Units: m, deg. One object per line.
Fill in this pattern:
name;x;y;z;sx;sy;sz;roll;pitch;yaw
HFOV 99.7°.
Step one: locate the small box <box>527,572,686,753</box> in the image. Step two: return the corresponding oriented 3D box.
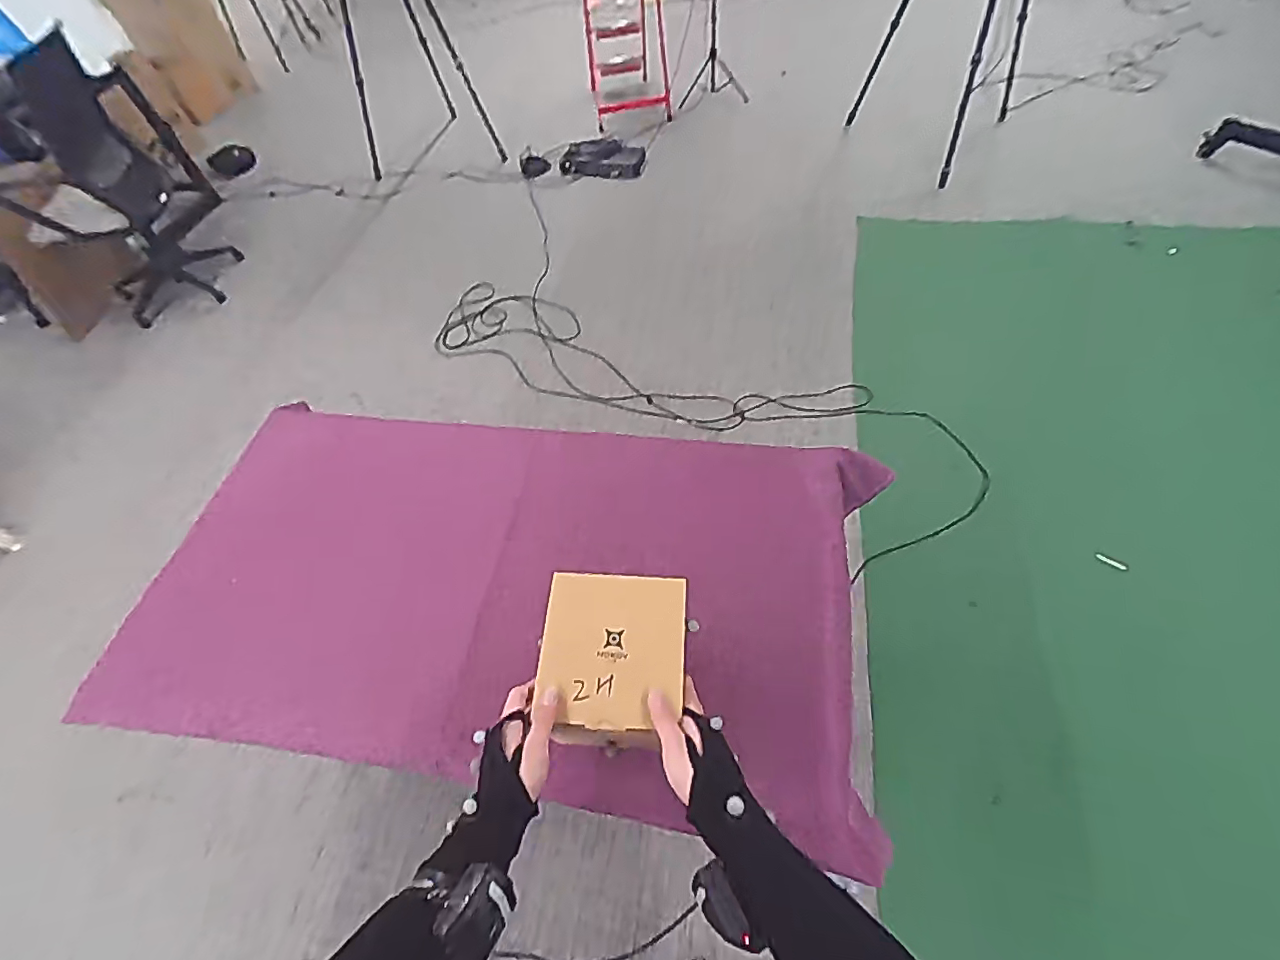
small box;-0.031;0.234;0.684;0.168;0.176;0.179;3;59;5
